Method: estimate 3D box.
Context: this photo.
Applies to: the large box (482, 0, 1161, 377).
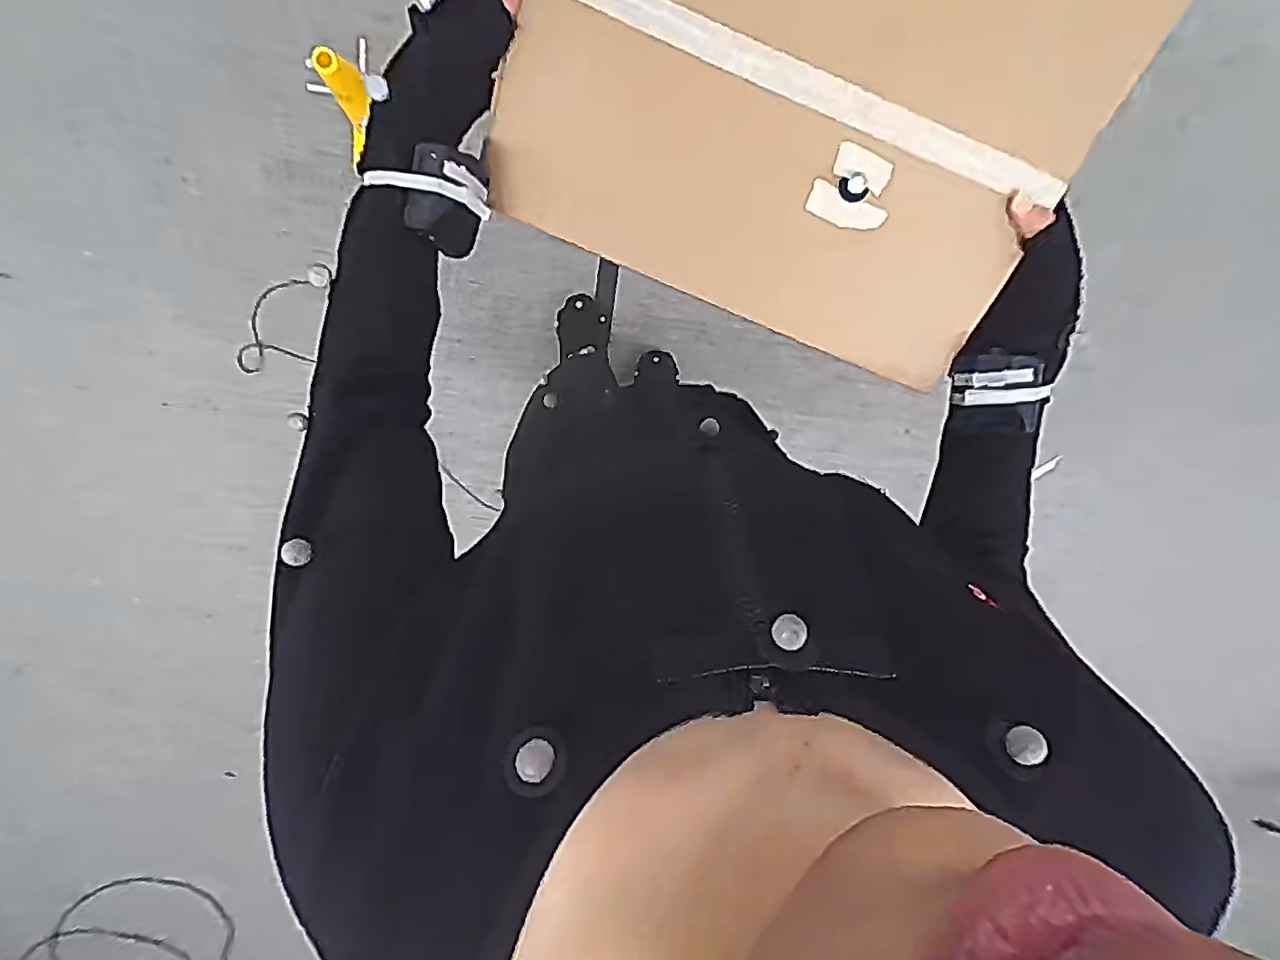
[{"bbox_3d":[0.119,-0.342,0.514,0.408,0.320,0.320,21,116,-5],"label":"large box"}]
